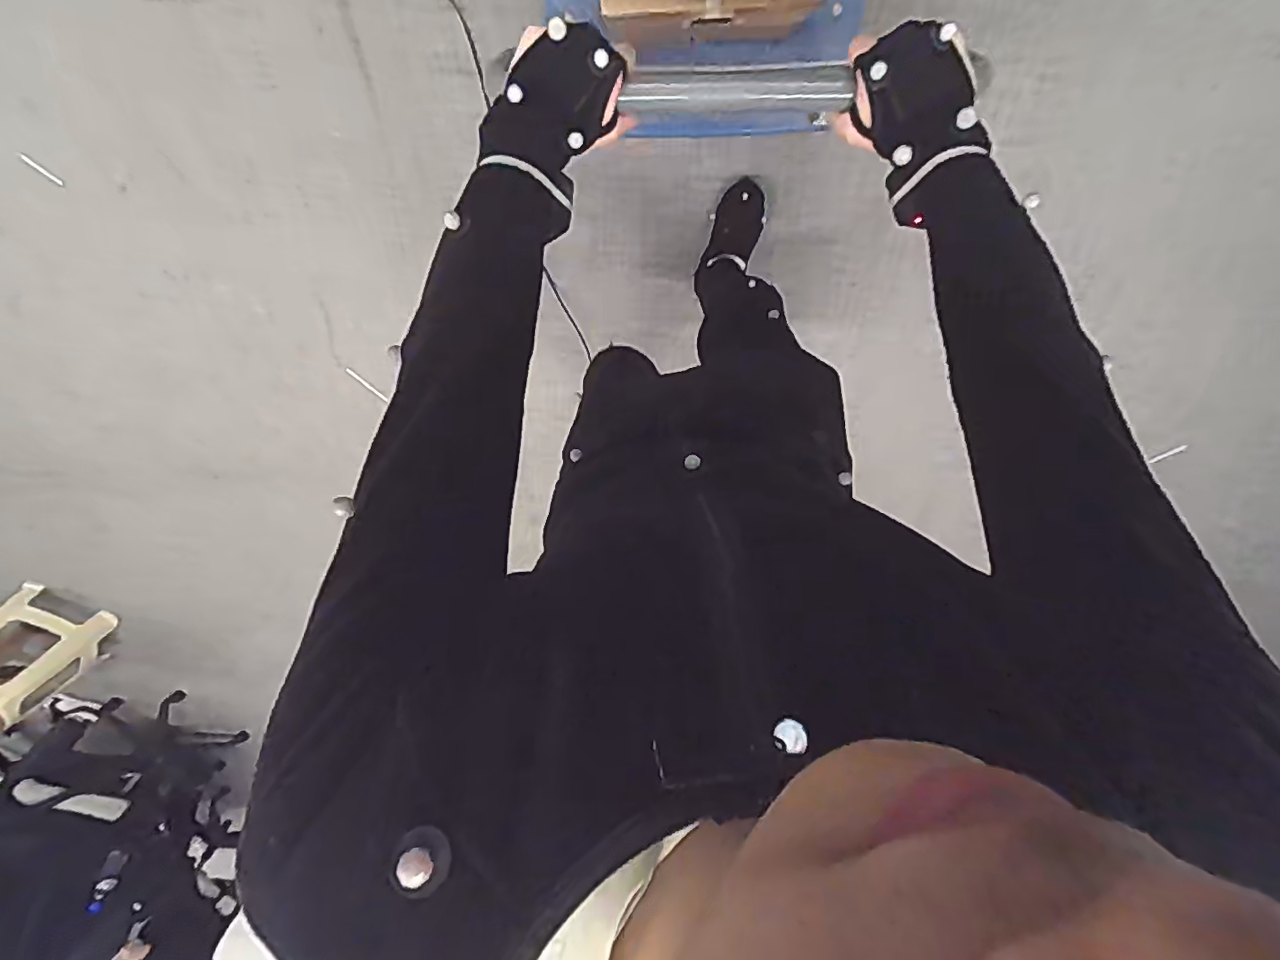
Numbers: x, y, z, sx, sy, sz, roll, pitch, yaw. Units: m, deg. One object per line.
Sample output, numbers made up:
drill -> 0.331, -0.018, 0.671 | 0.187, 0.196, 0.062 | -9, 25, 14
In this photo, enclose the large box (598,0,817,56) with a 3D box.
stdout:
large box -> 0.095, -0.905, 0.792 | 0.320, 0.320, 0.408 | -1, 122, 4
